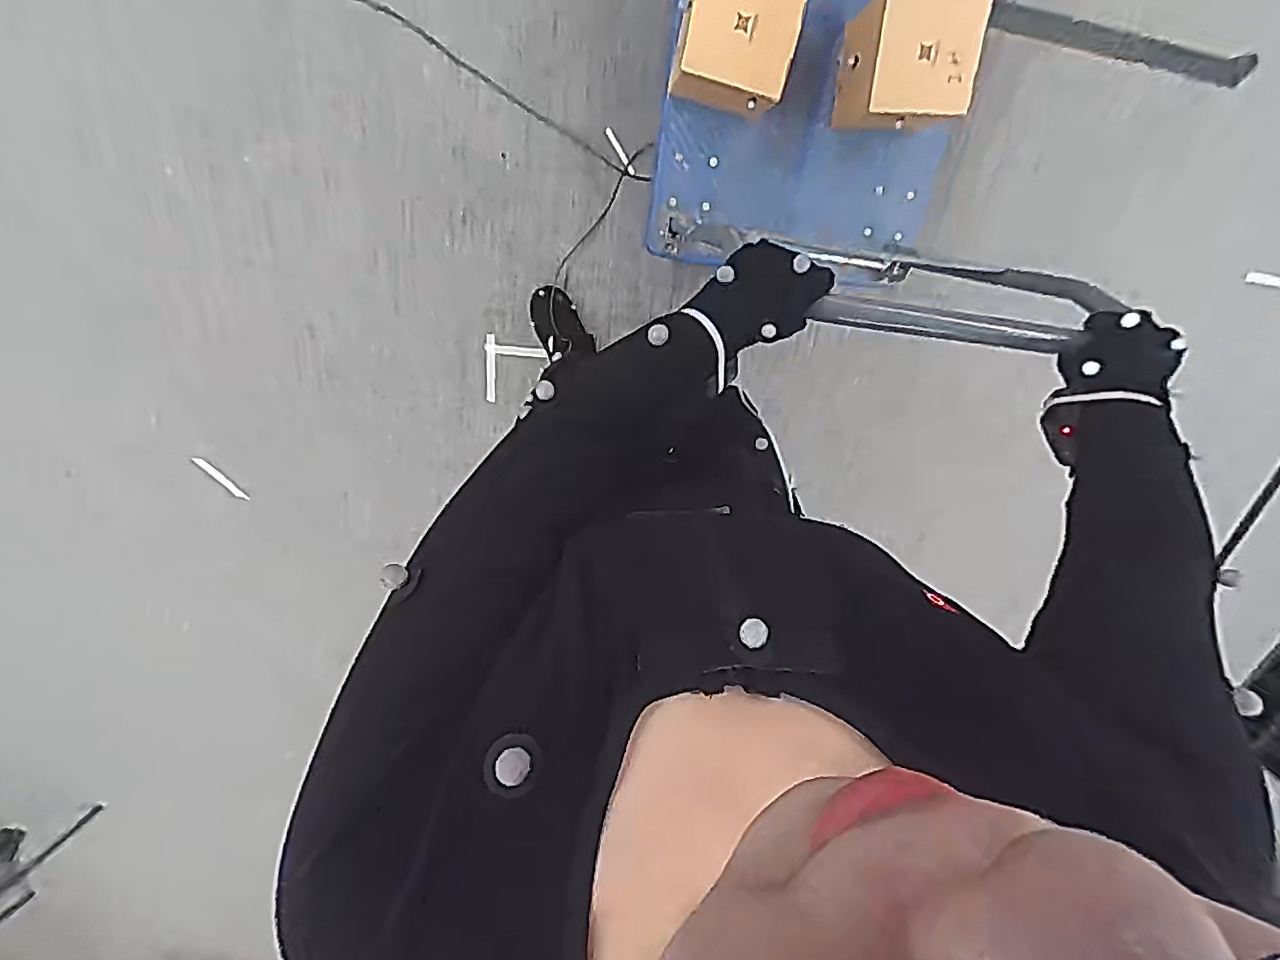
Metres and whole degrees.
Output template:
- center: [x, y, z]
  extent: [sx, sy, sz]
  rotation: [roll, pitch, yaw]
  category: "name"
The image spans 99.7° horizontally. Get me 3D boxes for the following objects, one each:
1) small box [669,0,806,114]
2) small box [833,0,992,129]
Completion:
- center: [0.156, -0.747, 0.915]
  extent: [0.179, 0.176, 0.168]
  rotation: [9, 114, -10]
  category: "small box"
- center: [0.461, -0.726, 0.947]
  extent: [0.179, 0.176, 0.168]
  rotation: [0, 116, -4]
  category: "small box"
